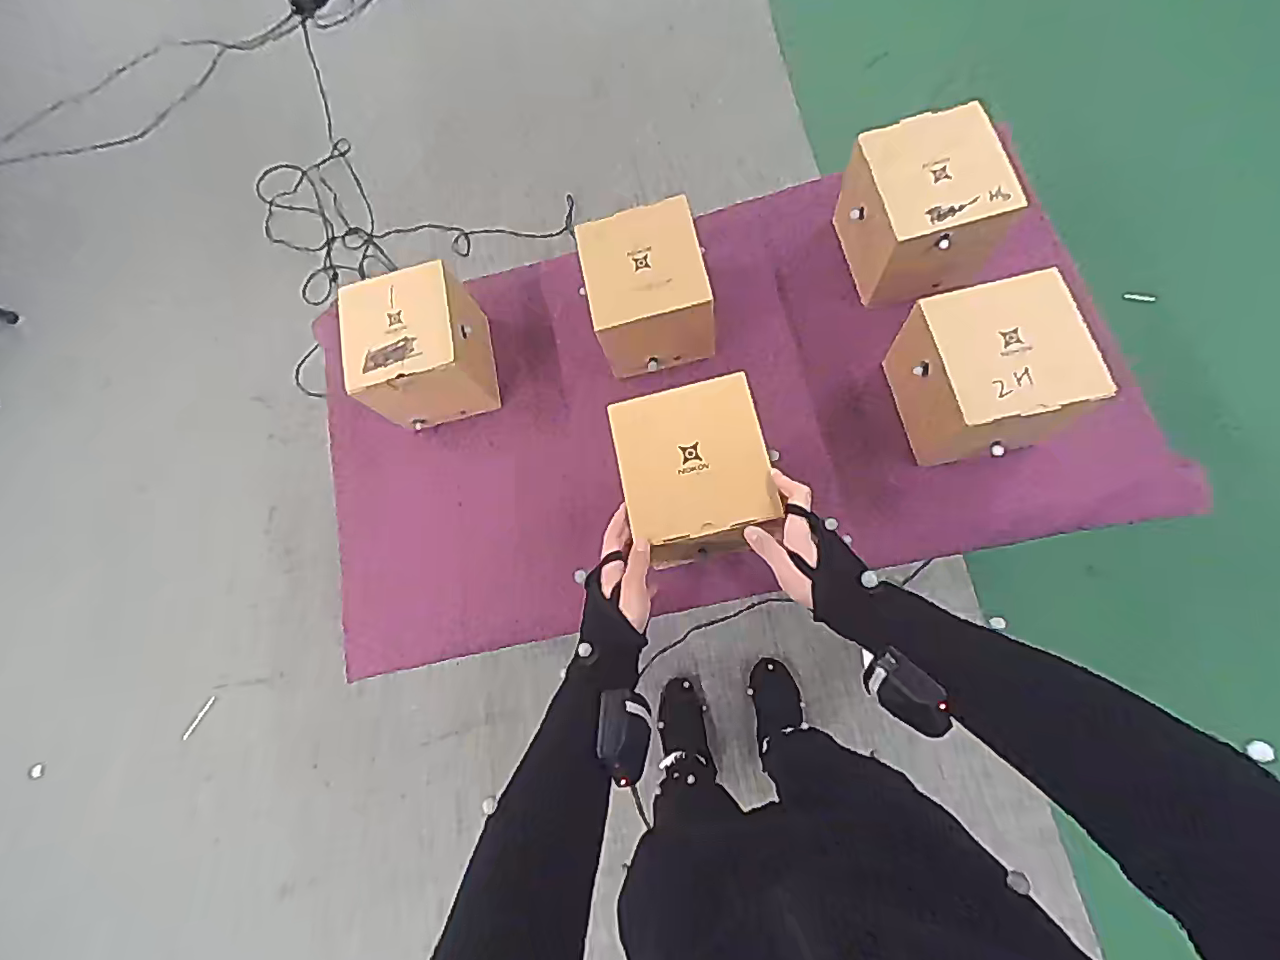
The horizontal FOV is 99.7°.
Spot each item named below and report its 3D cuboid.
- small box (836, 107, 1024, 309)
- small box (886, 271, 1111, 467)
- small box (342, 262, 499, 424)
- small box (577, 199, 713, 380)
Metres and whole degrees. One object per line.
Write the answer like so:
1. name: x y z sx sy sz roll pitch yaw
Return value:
1. small box: 0.400 -0.383 0.785 0.168 0.176 0.179 -14 74 6
2. small box: 0.447 -0.135 0.712 0.168 0.176 0.179 -12 73 7
3. small box: -0.335 -0.200 0.851 0.168 0.176 0.179 -14 73 4
4. small box: 0.013 -0.279 0.820 0.168 0.176 0.179 -13 75 6
